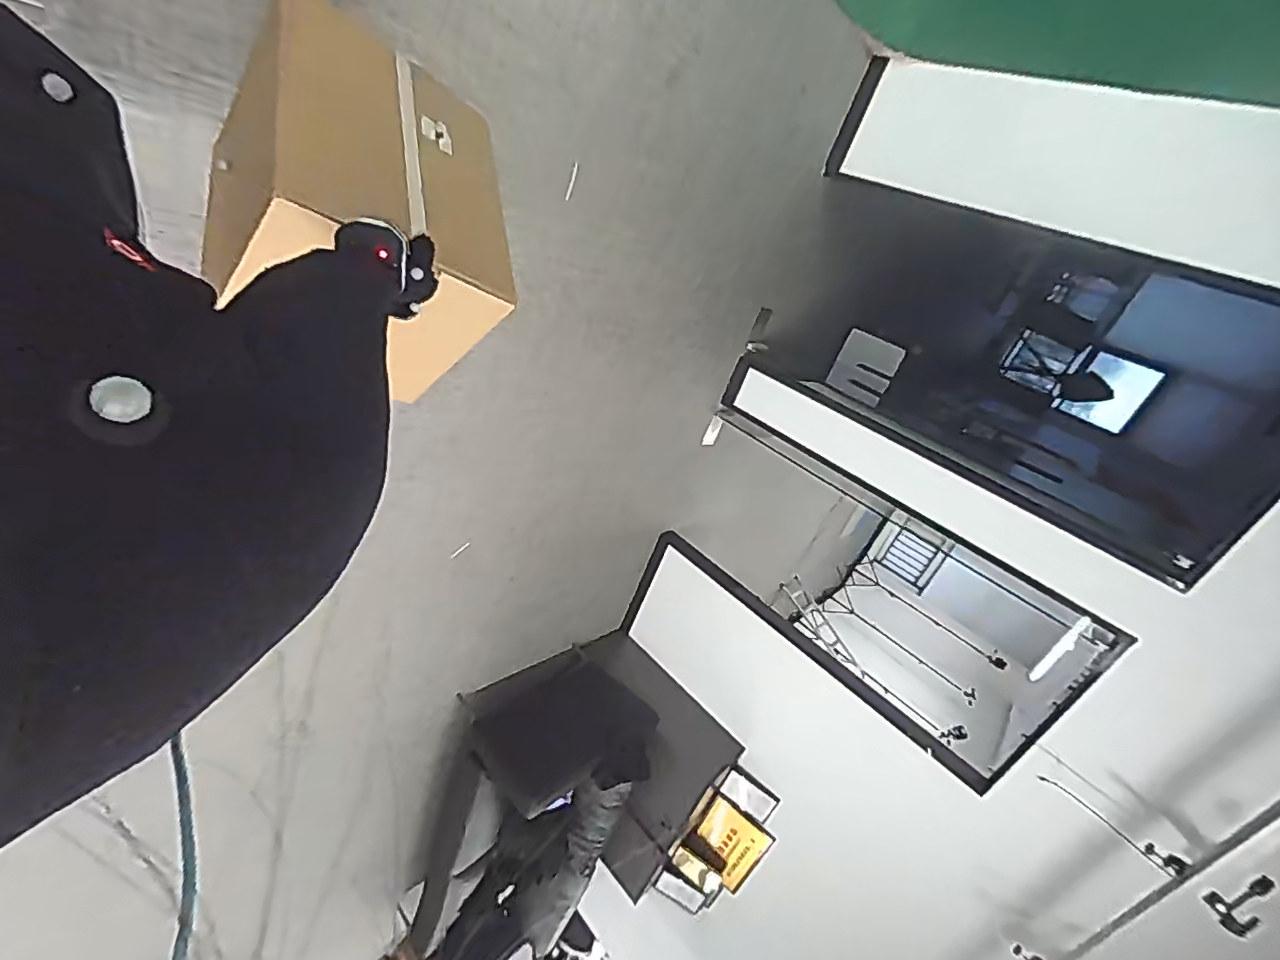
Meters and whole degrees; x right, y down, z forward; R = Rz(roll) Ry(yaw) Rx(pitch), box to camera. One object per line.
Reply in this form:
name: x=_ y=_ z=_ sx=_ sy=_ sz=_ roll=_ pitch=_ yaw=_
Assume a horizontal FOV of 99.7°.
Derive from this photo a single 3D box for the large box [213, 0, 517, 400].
large box: x=-0.433 y=-0.392 z=0.841 sx=0.320 sy=0.408 sz=0.320 roll=-29 pitch=155 yaw=33
